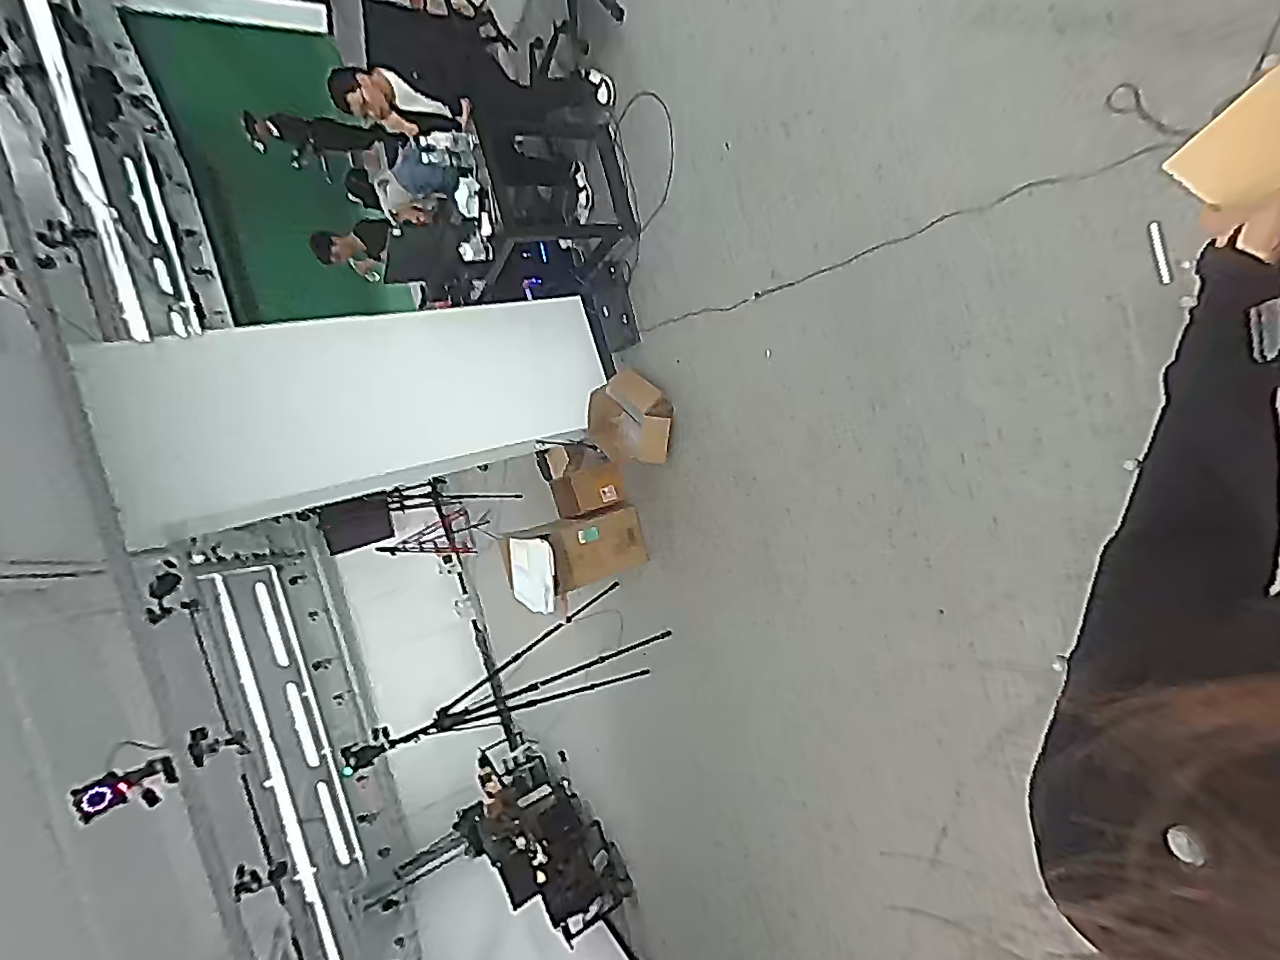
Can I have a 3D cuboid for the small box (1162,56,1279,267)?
[{"bbox_3d":[0.663,-0.325,0.501,0.168,0.176,0.179,58,147,17],"label":"small box"}]
